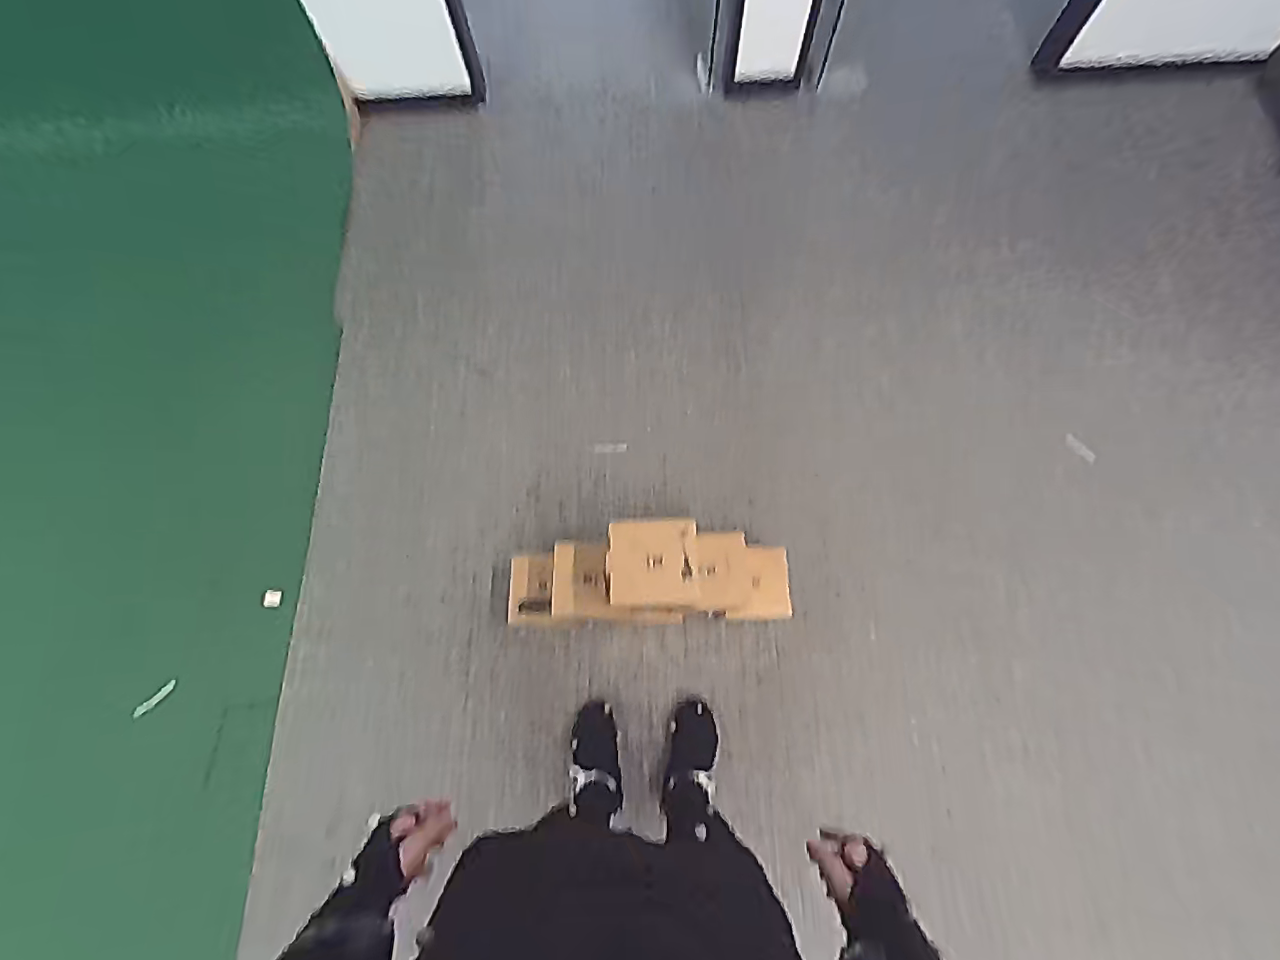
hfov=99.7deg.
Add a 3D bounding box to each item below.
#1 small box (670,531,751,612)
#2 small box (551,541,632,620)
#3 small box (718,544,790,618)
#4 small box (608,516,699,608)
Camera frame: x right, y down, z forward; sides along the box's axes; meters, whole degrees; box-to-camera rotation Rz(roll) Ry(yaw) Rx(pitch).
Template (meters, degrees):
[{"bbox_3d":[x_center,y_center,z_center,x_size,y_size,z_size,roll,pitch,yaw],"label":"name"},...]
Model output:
[{"bbox_3d":[0.154,0.221,1.279,0.179,0.176,0.168,-3,73,-2],"label":"small box"},{"bbox_3d":[-0.105,0.240,1.275,0.179,0.176,0.168,0,72,2],"label":"small box"},{"bbox_3d":[0.291,0.273,1.433,0.168,0.176,0.179,-2,72,0],"label":"small box"},{"bbox_3d":[0.027,0.176,1.122,0.179,0.176,0.168,-2,73,0],"label":"small box"}]
